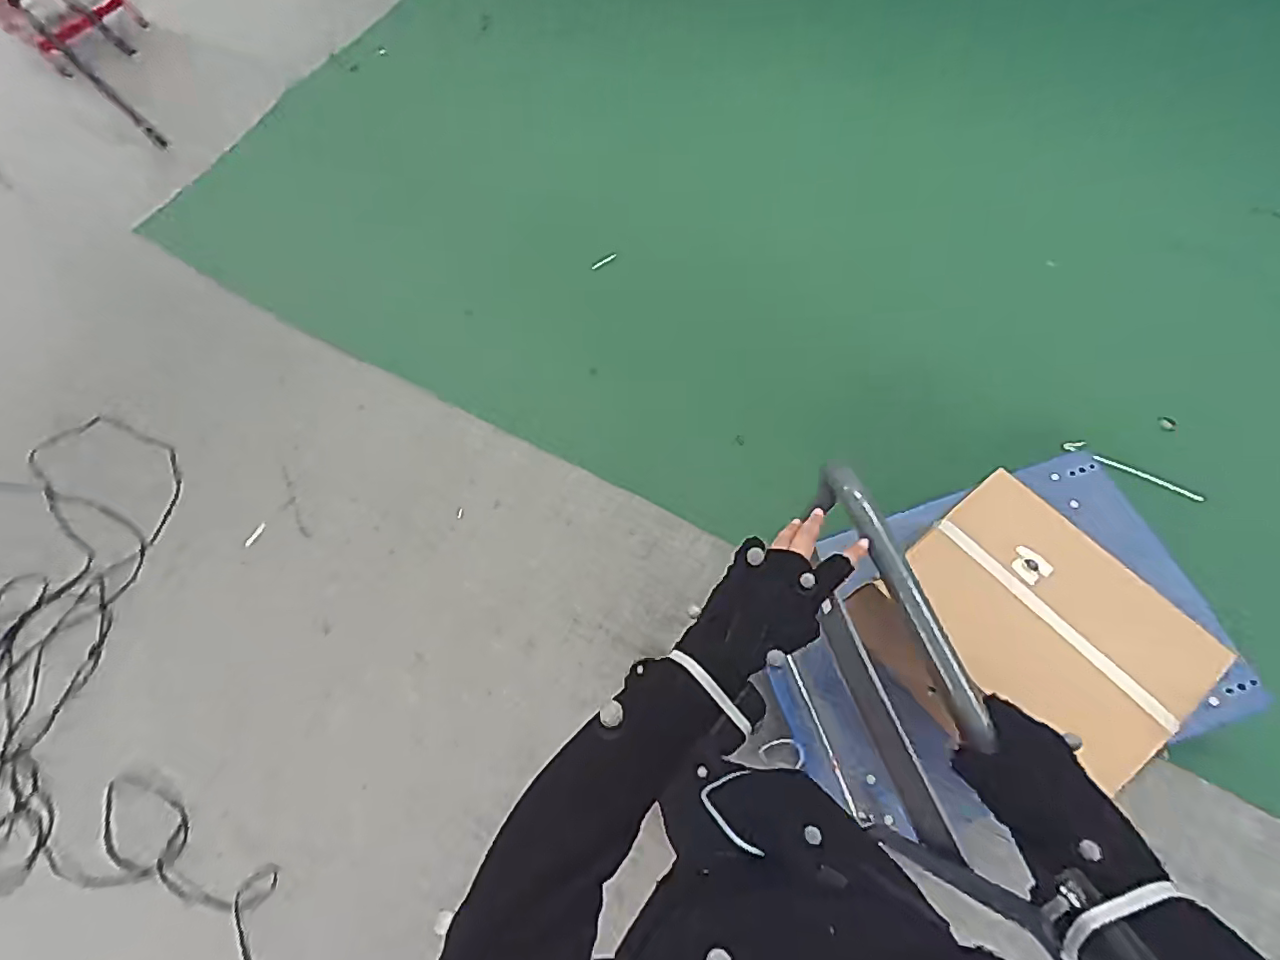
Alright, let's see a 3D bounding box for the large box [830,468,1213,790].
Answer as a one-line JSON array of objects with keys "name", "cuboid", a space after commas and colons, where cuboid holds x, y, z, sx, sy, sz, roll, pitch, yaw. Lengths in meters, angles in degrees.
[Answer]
[{"name": "large box", "cuboid": [0.623, 0.261, 0.977, 0.320, 0.320, 0.408, -38, 68, -9]}]
